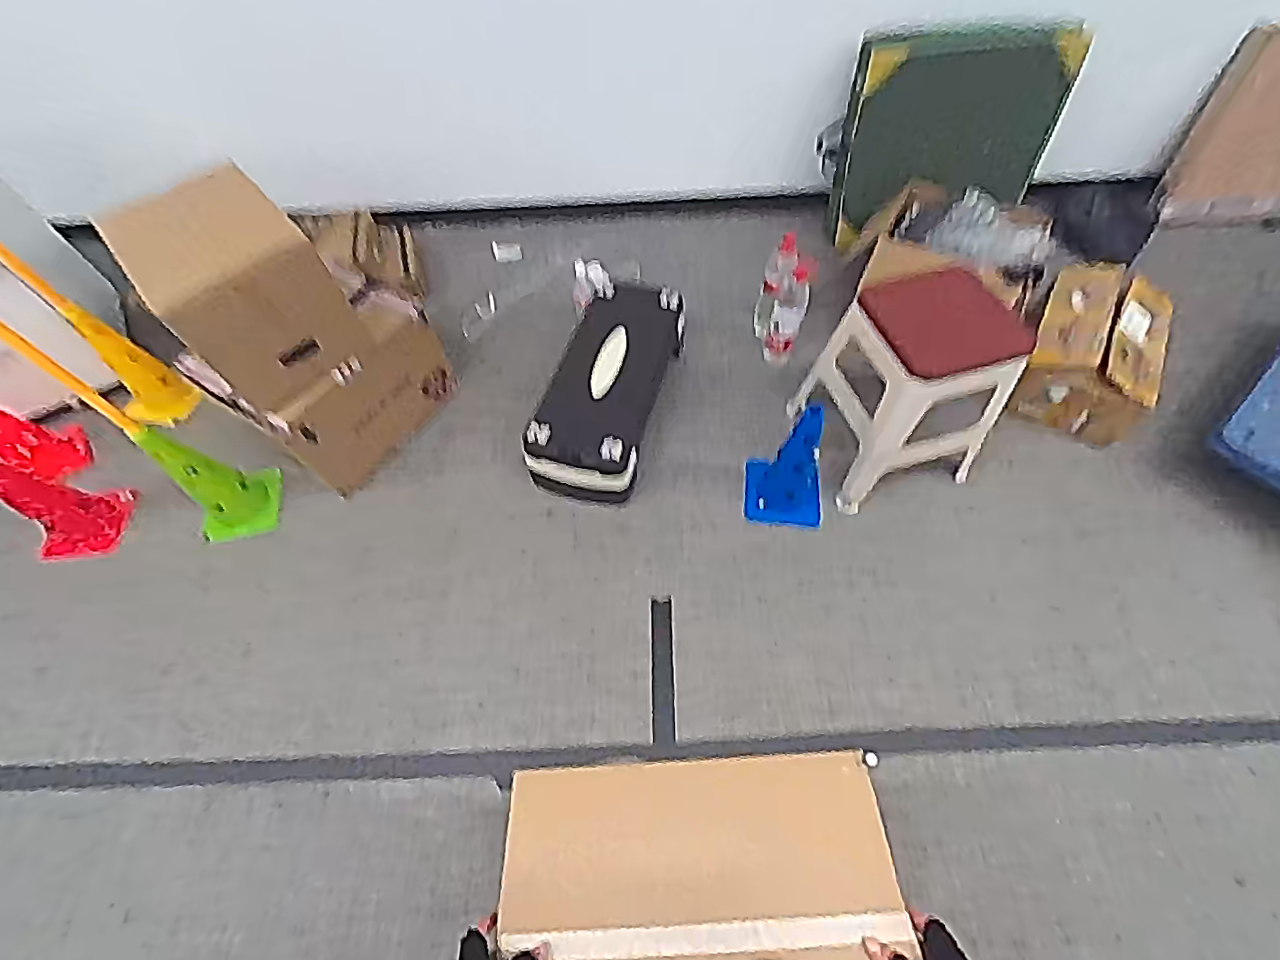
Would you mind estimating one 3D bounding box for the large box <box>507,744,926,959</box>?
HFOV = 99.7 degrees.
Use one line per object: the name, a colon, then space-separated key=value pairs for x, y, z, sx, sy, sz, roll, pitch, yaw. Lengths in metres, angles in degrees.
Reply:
large box: x=0.076 y=0.534 z=0.639 sx=0.408 sy=0.320 sz=0.320 roll=-4 pitch=50 yaw=1
